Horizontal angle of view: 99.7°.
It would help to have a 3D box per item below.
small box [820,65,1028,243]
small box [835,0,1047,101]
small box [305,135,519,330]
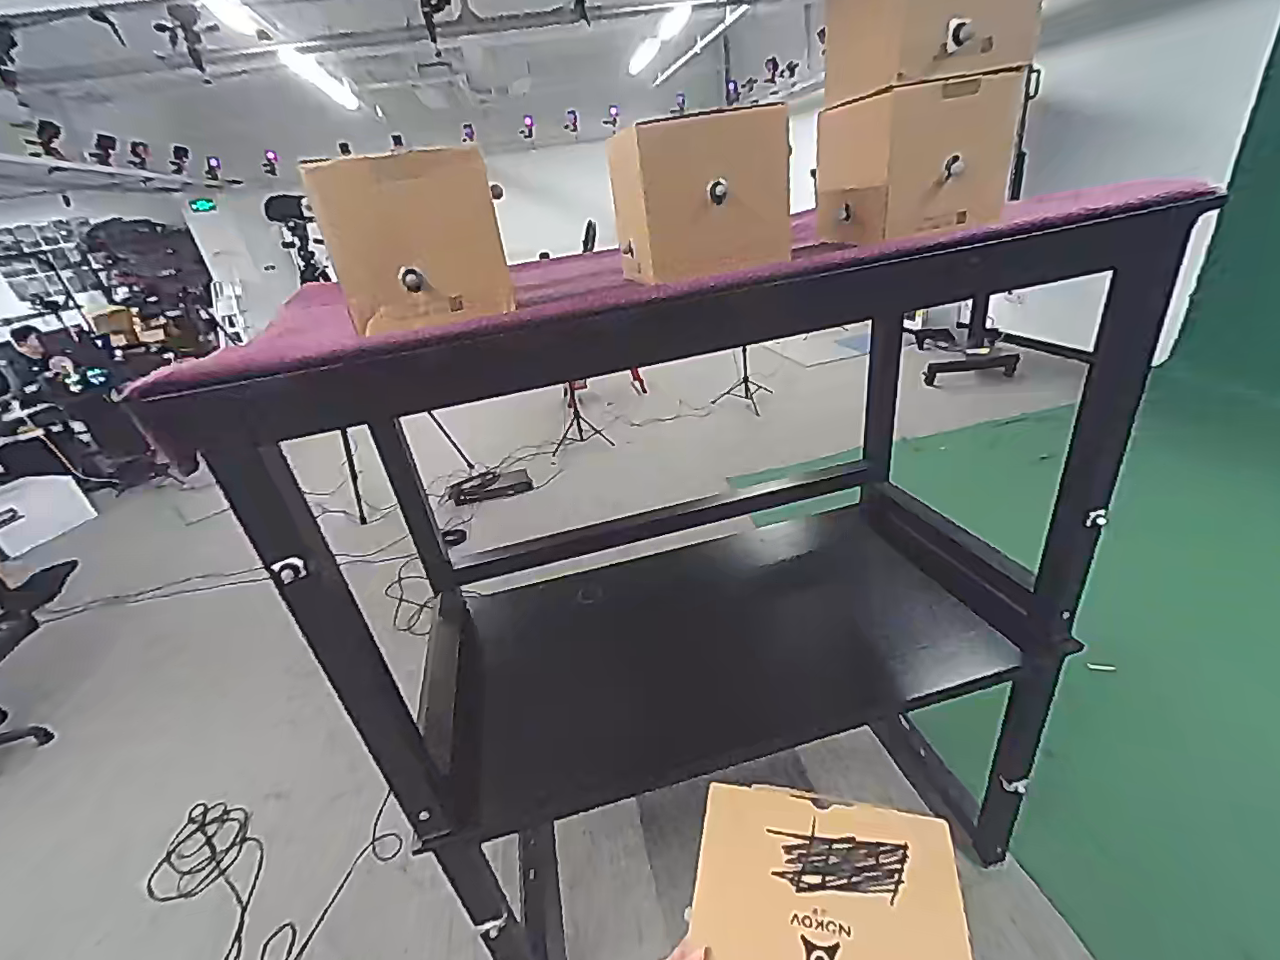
[{"bbox_3d":[0.353,-0.414,0.708,0.168,0.176,0.179,-12,29,-7],"label":"small box"},{"bbox_3d":[0.340,-0.558,0.632,0.168,0.176,0.179,-12,29,-4],"label":"small box"},{"bbox_3d":[-0.239,-0.272,0.610,0.168,0.176,0.179,-14,27,-11],"label":"small box"}]
